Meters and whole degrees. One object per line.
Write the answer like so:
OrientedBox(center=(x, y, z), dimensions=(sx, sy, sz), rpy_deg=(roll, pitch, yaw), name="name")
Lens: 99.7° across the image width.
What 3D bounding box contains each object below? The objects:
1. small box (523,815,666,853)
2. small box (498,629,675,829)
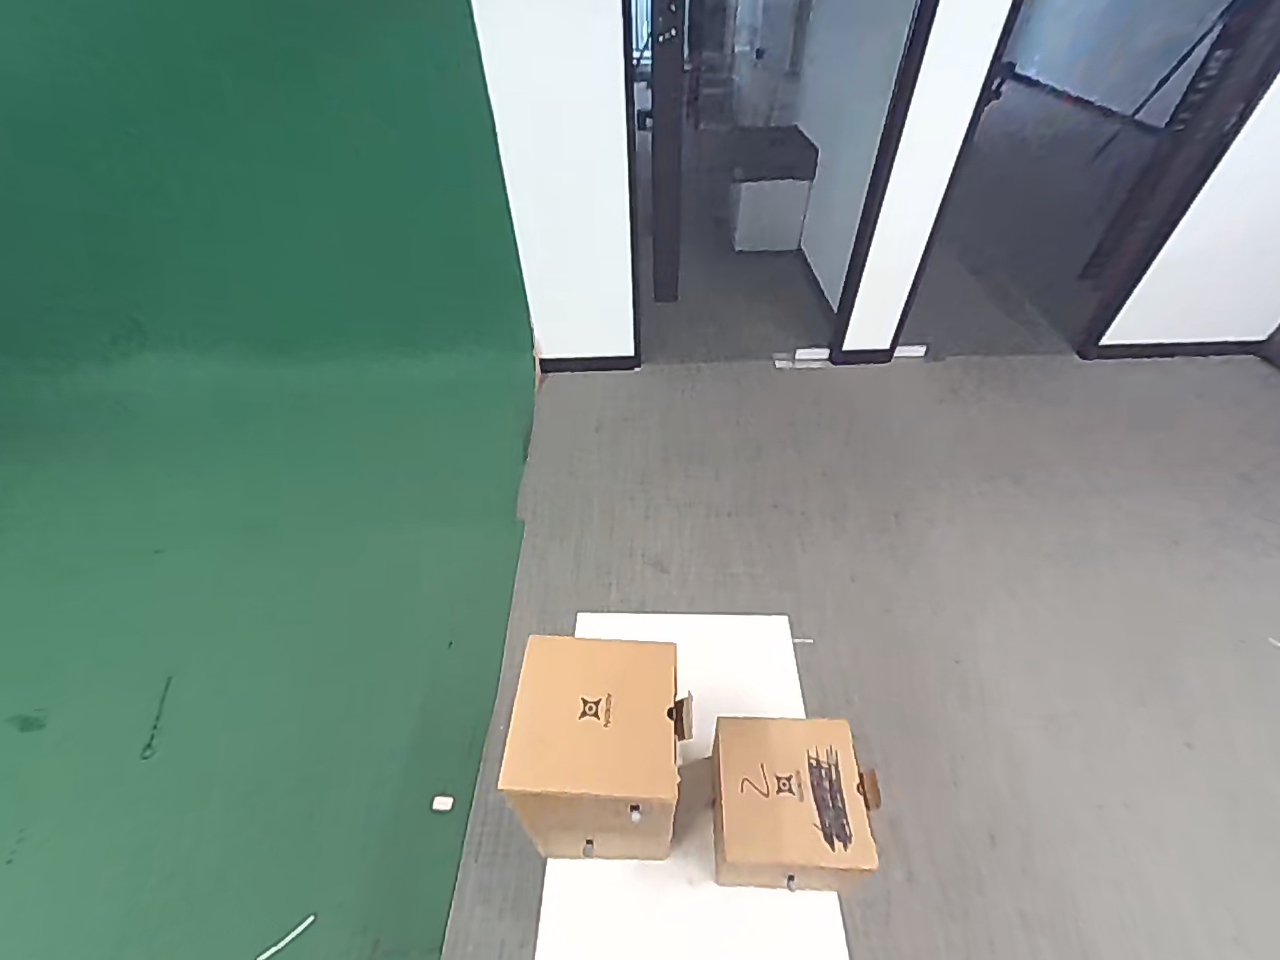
OrientedBox(center=(-0.052, 0.408, 0.756), dimensions=(0.179, 0.176, 0.168), rpy_deg=(0, 46, 1), name="small box")
OrientedBox(center=(-0.051, 0.295, 0.638), dimensions=(0.179, 0.176, 0.168), rpy_deg=(3, 45, 0), name="small box")
